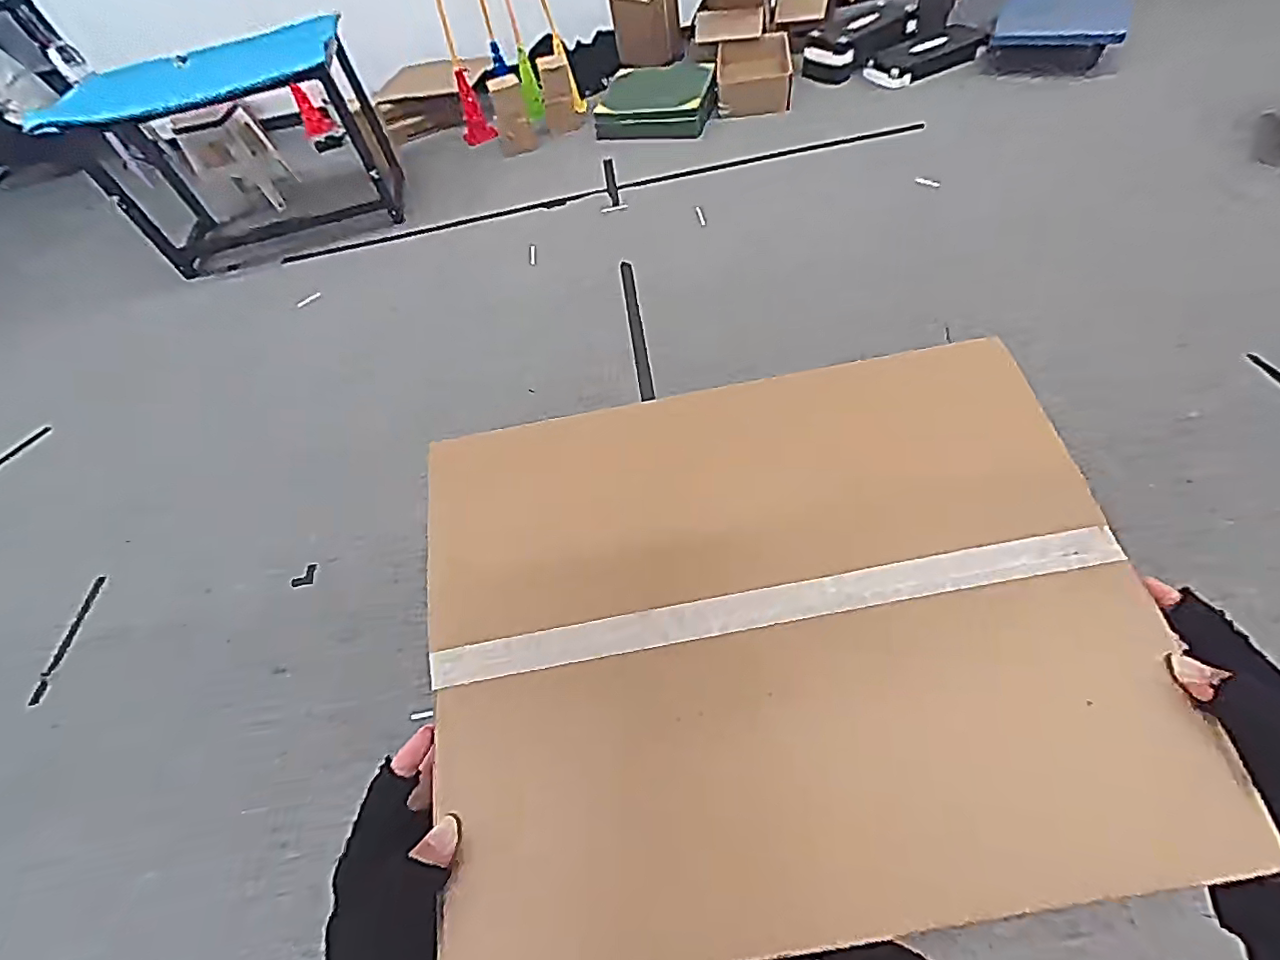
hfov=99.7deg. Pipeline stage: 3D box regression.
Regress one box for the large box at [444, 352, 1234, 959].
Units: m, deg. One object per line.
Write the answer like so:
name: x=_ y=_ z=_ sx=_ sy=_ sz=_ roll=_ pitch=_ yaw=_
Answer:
large box: x=0.089 y=0.142 z=0.465 sx=0.408 sy=0.320 sz=0.320 roll=-11 pitch=66 yaw=1
